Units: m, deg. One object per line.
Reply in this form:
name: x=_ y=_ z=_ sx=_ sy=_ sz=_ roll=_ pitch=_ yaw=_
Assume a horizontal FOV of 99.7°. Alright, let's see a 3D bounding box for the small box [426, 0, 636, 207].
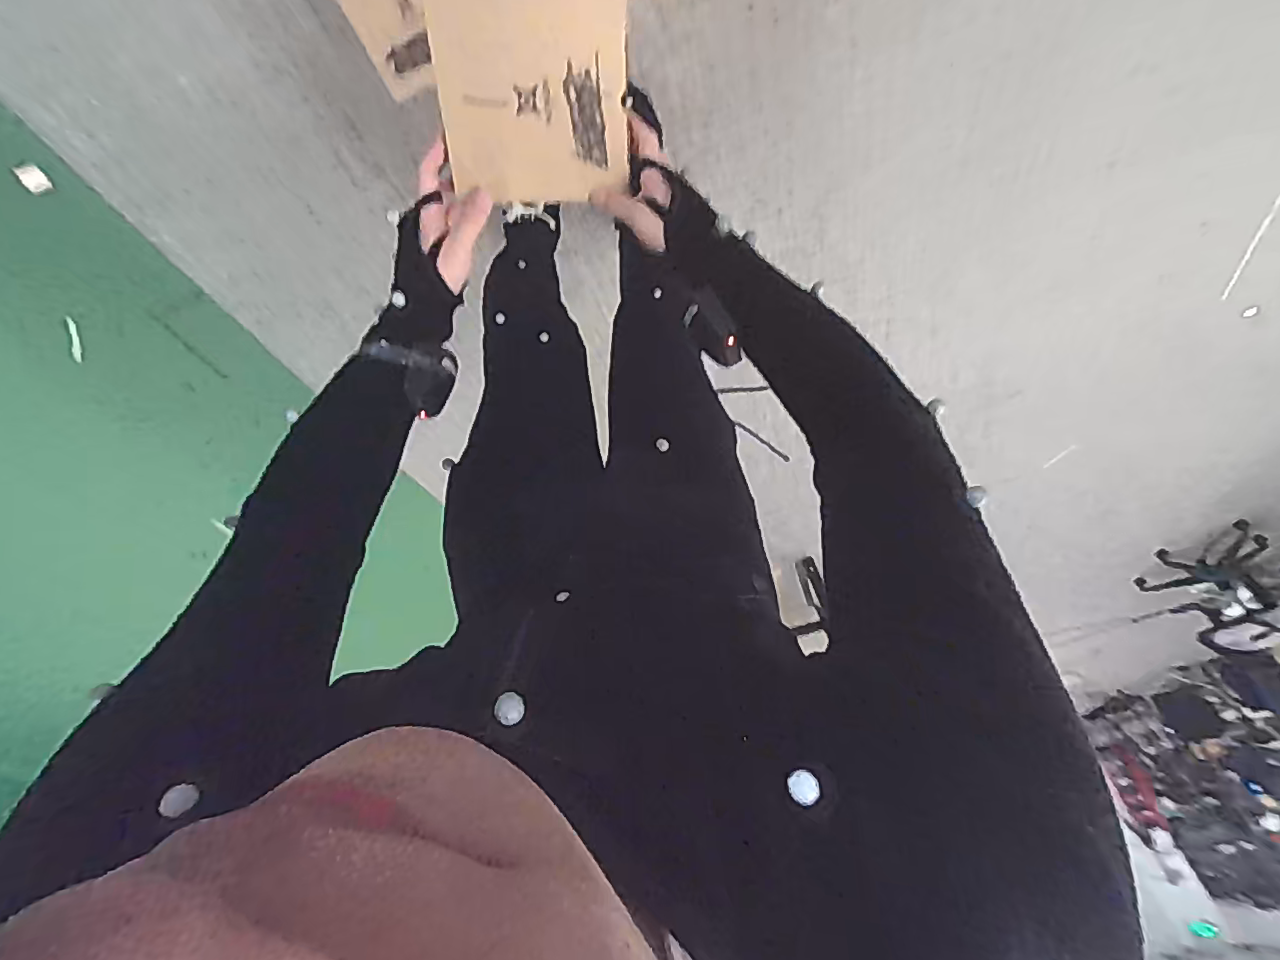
small box: x=-0.104 y=-0.385 z=0.559 sx=0.179 sy=0.176 sz=0.168 roll=-5 pitch=123 yaw=-7
